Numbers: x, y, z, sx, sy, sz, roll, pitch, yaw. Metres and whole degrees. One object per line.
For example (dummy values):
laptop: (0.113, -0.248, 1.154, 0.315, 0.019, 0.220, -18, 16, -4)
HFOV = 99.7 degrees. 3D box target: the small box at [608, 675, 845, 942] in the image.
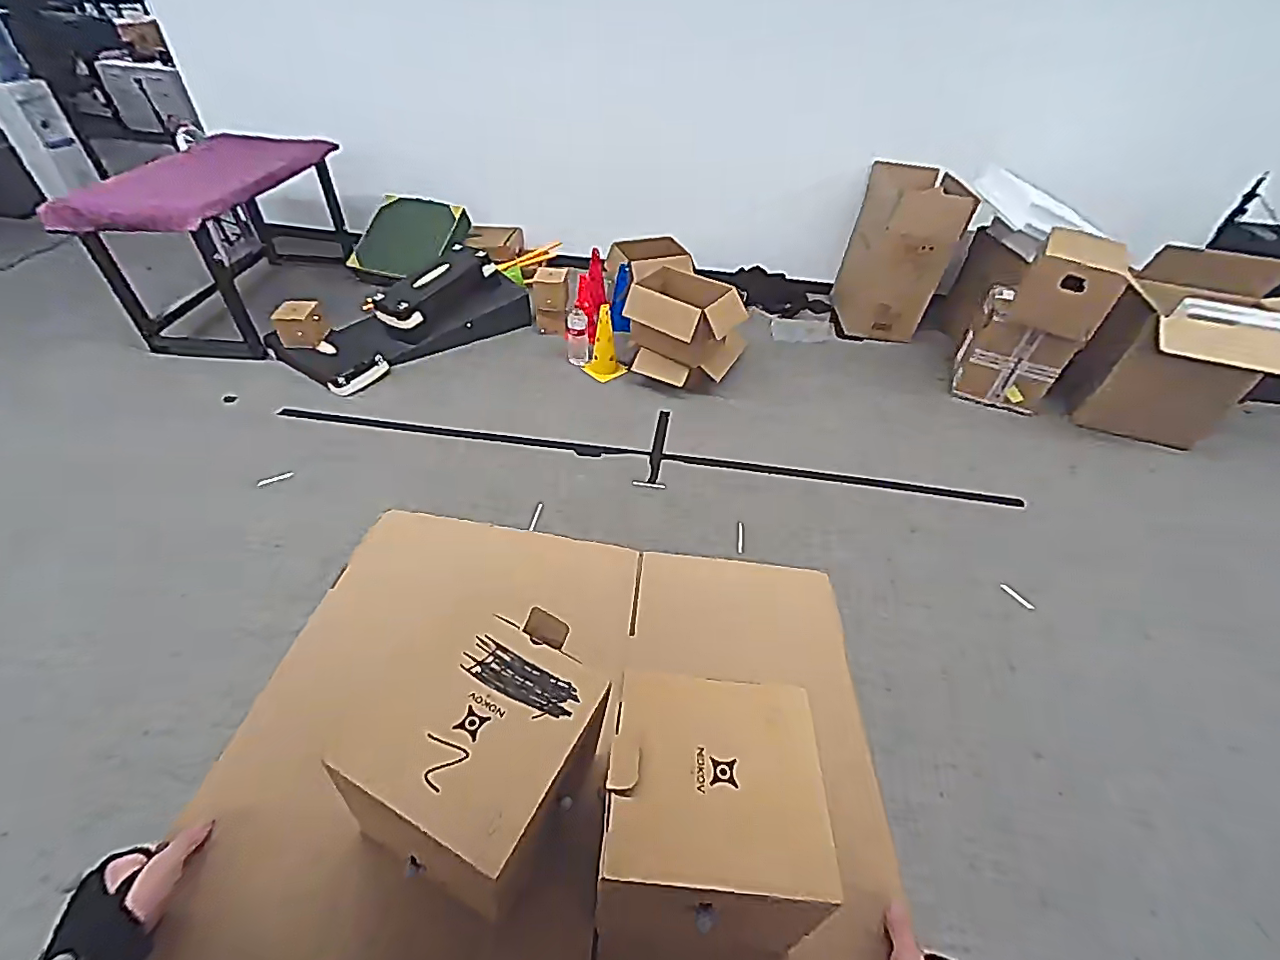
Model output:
small box: (0.067, 0.309, 0.509, 0.179, 0.176, 0.168, 5, 40, 1)
